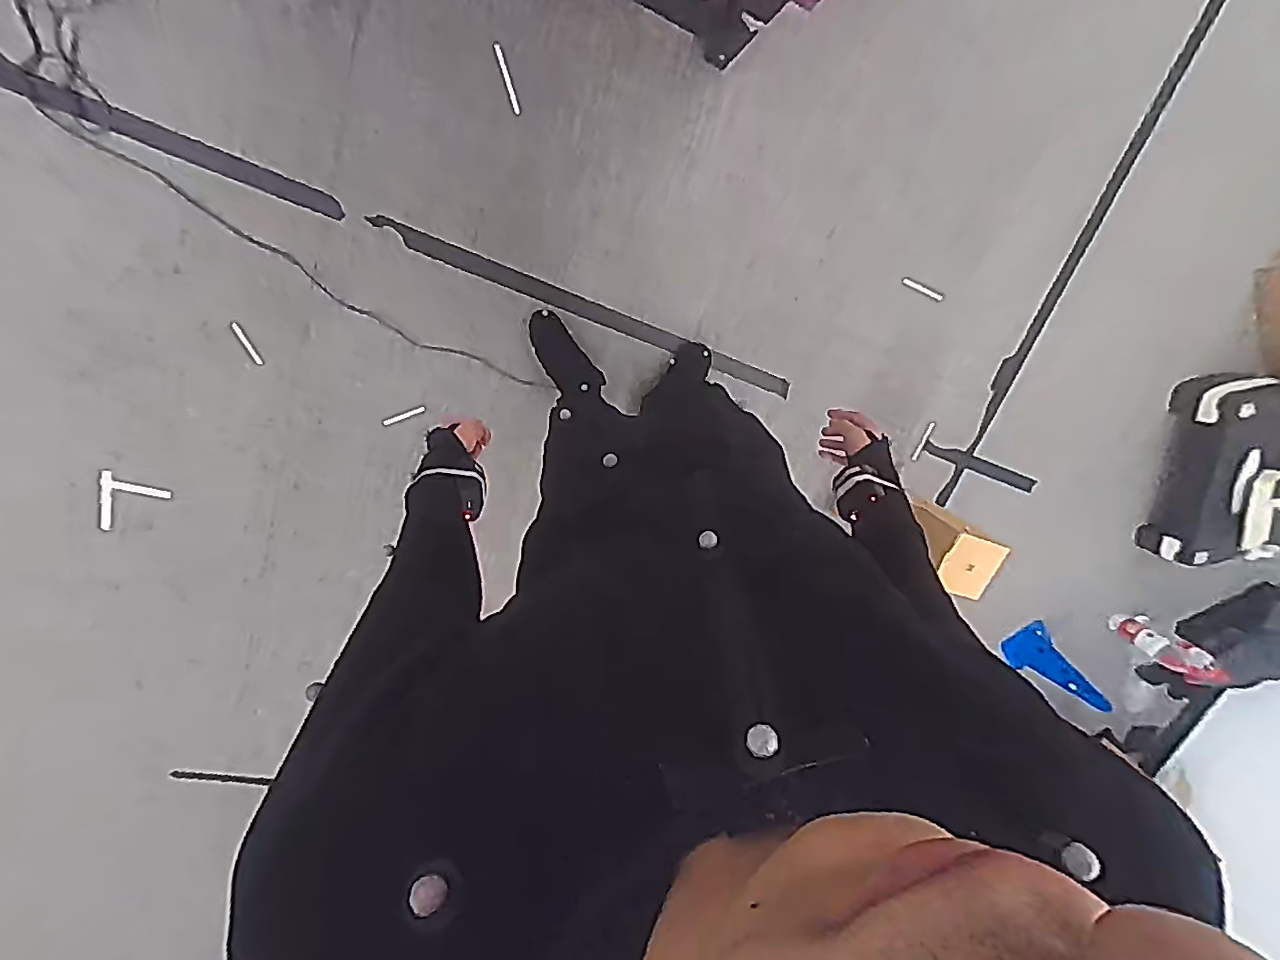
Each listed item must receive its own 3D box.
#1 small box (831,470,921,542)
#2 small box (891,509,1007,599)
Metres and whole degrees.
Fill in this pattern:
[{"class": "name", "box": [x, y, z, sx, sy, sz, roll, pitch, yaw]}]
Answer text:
[{"class": "small box", "box": [0.769, 0.081, 1.776, 0.179, 0.176, 0.168, 13, 108, -15]}, {"class": "small box", "box": [0.835, 0.197, 1.476, 0.179, 0.176, 0.168, 17, 108, -17]}]
